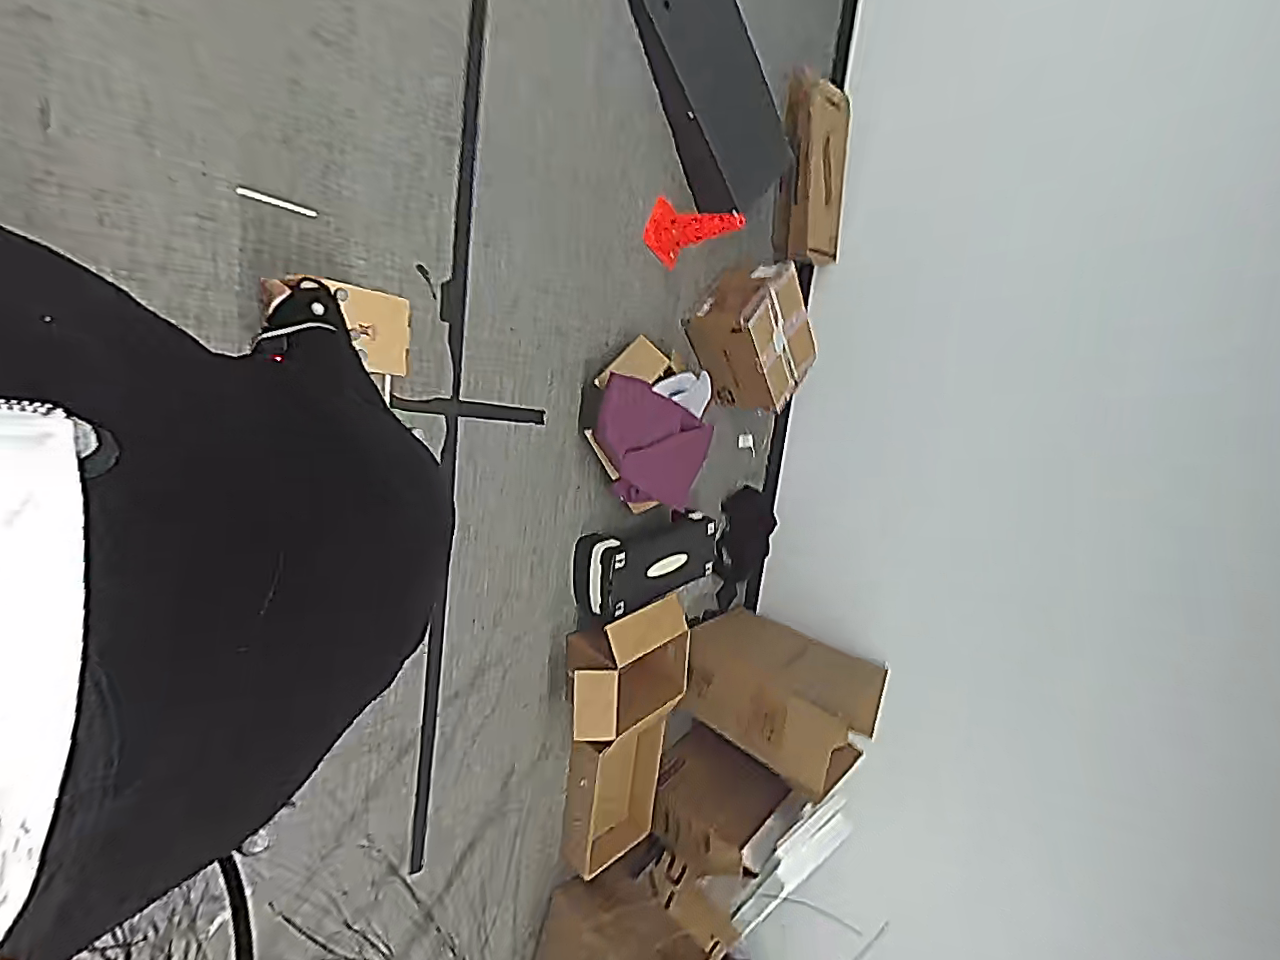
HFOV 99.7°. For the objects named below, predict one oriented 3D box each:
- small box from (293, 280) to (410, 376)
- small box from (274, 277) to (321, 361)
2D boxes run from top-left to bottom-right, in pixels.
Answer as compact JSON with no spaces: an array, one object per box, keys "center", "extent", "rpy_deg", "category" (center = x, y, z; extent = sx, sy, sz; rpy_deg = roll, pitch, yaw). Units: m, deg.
[{"center":[-0.620,-0.320,1.162],"extent":[0.179,0.176,0.168],"rpy_deg":[0,100,-46],"category":"small box"},{"center":[-0.739,-0.359,1.266],"extent":[0.168,0.176,0.179],"rpy_deg":[1,100,-47],"category":"small box"}]
